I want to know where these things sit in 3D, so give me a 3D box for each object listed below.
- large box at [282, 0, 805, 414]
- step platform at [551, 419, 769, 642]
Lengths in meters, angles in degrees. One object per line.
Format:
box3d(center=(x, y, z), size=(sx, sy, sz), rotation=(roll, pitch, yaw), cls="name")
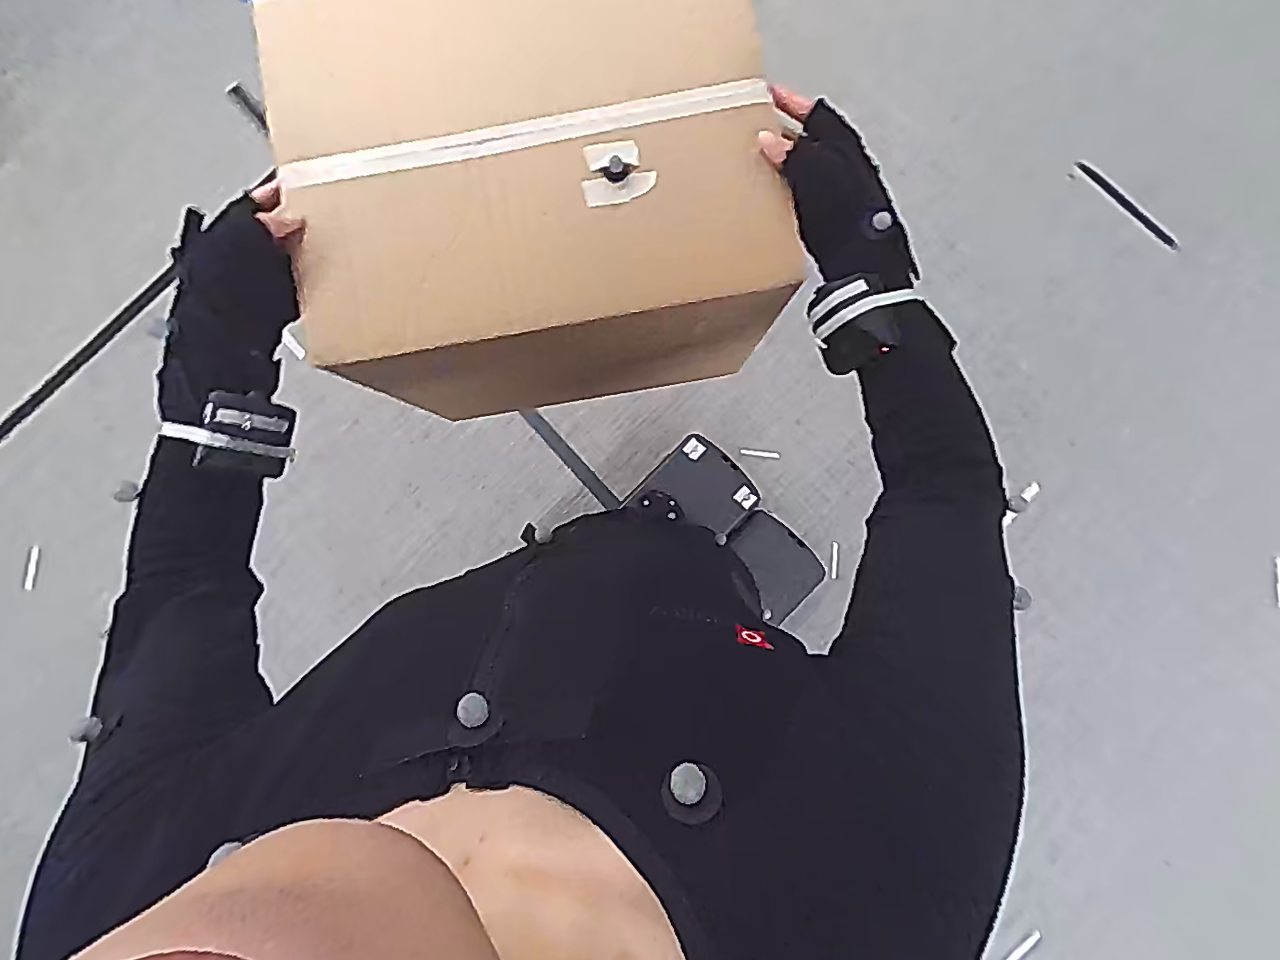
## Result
box3d(center=(-0.084, -0.279, 0.600), size=(0.408, 0.320, 0.320), rotation=(-10, 89, -1), cls="large box")
box3d(center=(0.057, 0.143, 1.585), size=(0.286, 0.204, 0.684), rotation=(44, 88, 4), cls="step platform")
